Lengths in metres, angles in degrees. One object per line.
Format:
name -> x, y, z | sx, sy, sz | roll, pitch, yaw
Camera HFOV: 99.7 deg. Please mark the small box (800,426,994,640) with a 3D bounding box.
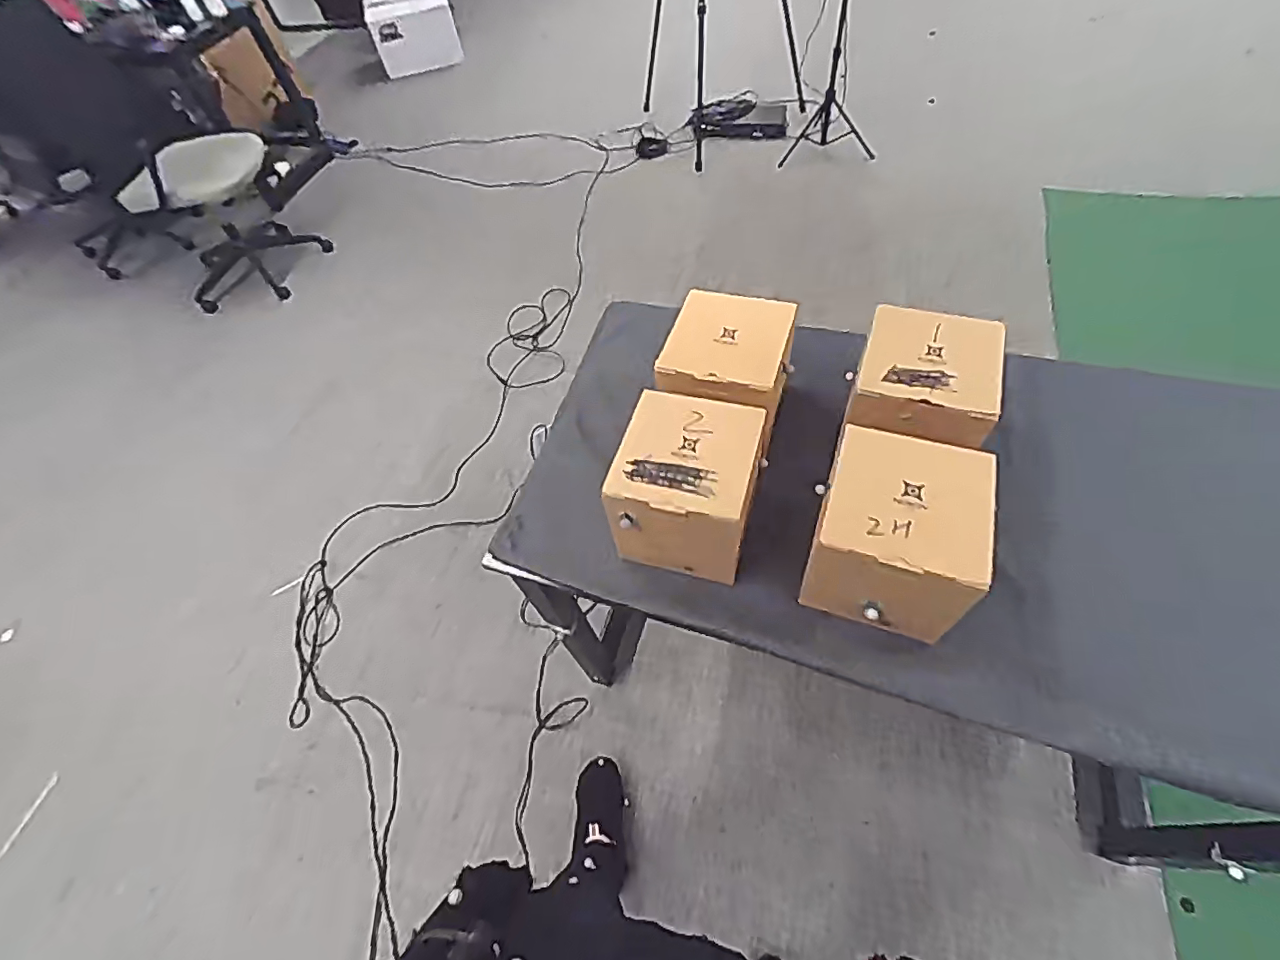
small box -> 0.303, 0.067, 0.660 | 0.168, 0.176, 0.179 | 15, 59, 16
